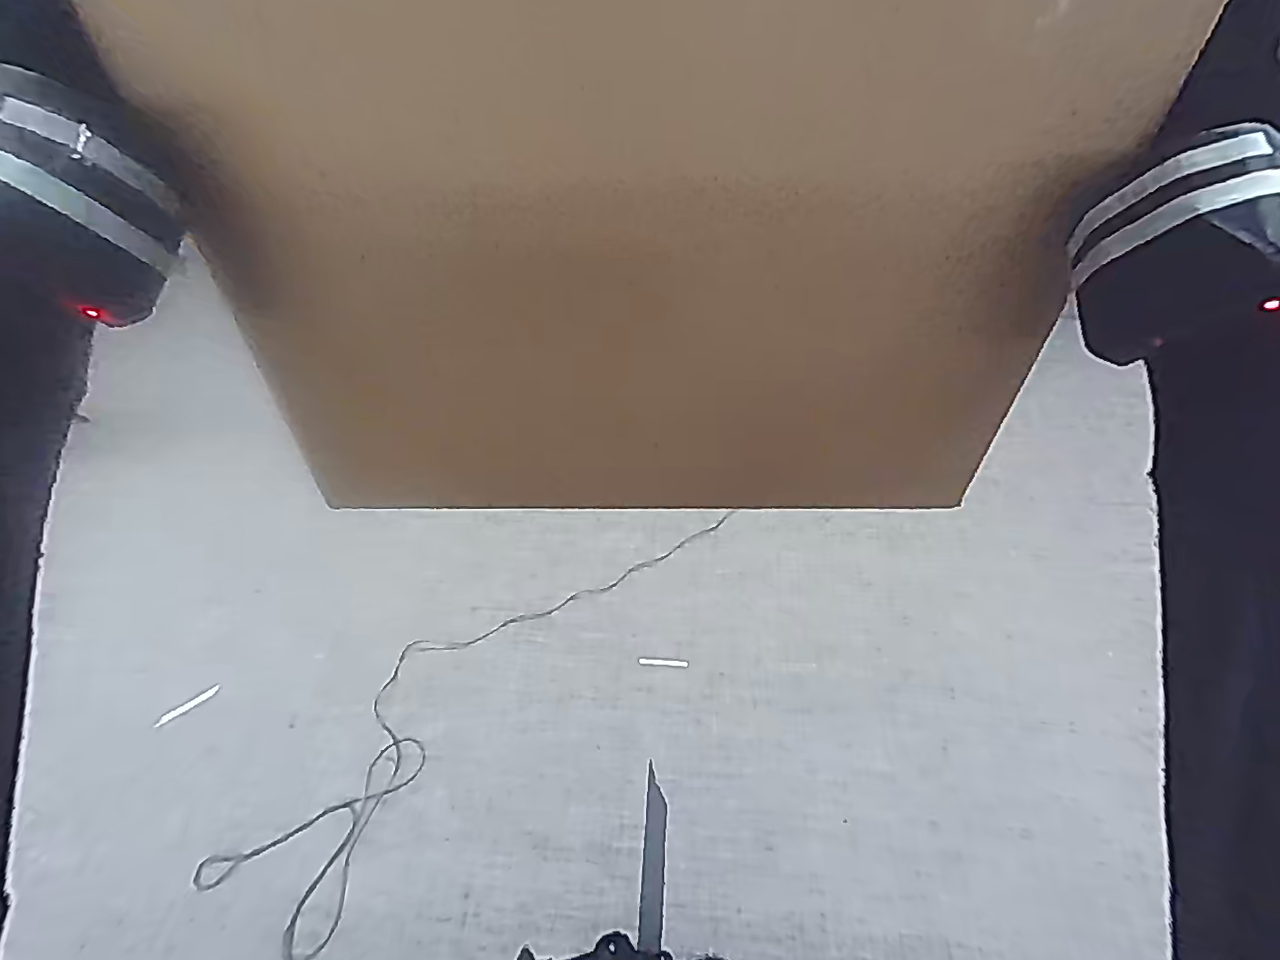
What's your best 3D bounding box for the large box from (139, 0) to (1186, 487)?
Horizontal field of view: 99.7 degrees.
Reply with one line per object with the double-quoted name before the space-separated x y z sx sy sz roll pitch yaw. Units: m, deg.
"large box" 0.005 -0.205 0.370 0.408 0.320 0.320 1 41 -2
